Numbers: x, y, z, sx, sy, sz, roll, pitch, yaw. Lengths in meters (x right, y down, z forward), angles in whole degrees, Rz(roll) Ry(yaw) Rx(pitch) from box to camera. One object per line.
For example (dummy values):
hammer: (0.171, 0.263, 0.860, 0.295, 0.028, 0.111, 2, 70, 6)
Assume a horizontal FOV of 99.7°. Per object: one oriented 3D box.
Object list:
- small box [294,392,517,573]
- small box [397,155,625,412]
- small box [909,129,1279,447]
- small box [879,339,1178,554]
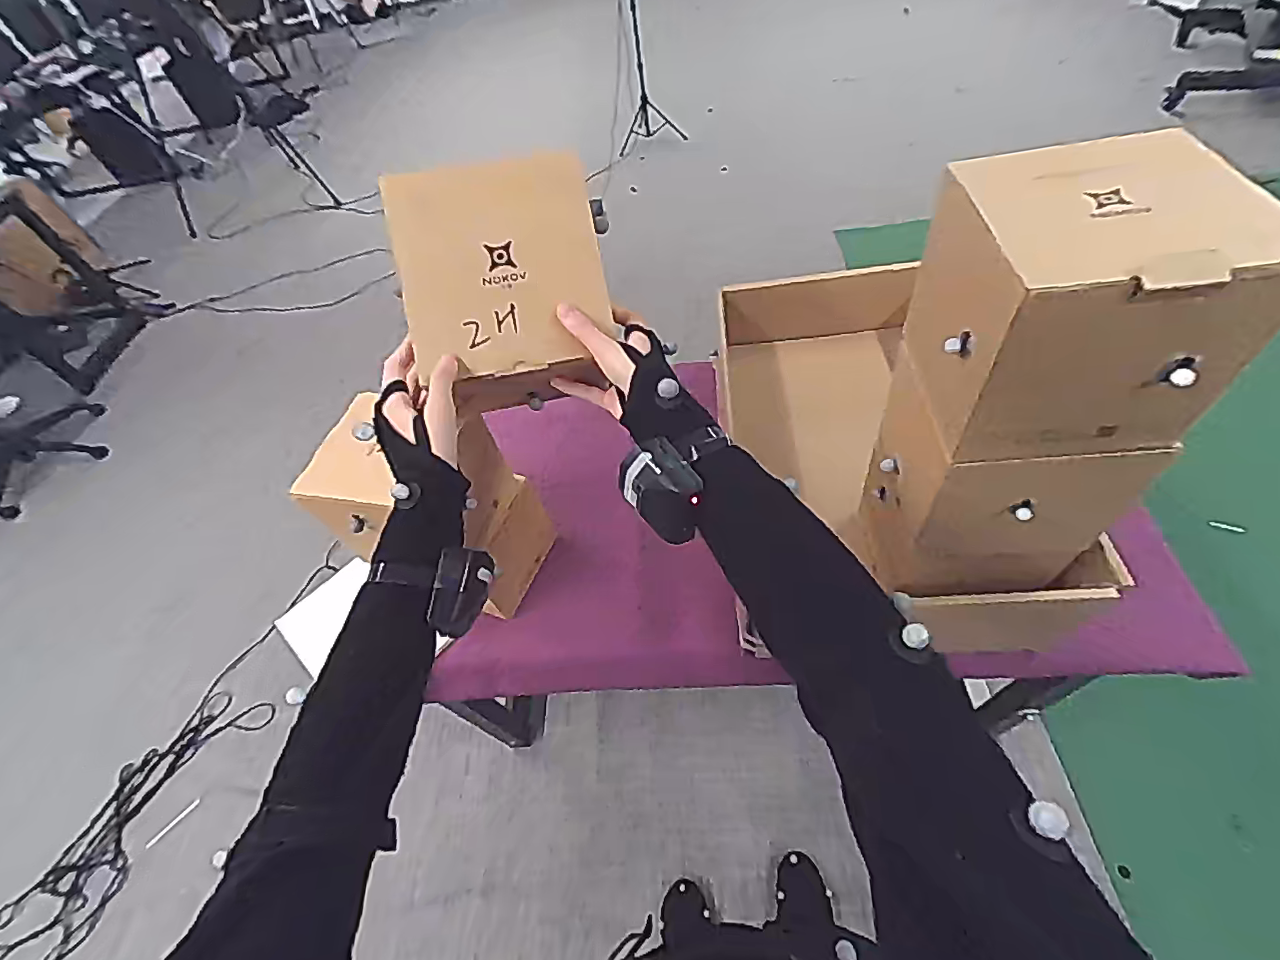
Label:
small box: (-0.285, 0.007, 0.706, 0.179, 0.176, 0.168, 5, 55, 15)
small box: (-0.113, -0.175, 0.527, 0.168, 0.176, 0.179, -10, 90, -5)
small box: (0.332, -0.138, 0.428, 0.168, 0.176, 0.179, -3, 52, 10)
small box: (0.363, -0.036, 0.552, 0.179, 0.176, 0.168, -4, 53, 11)
